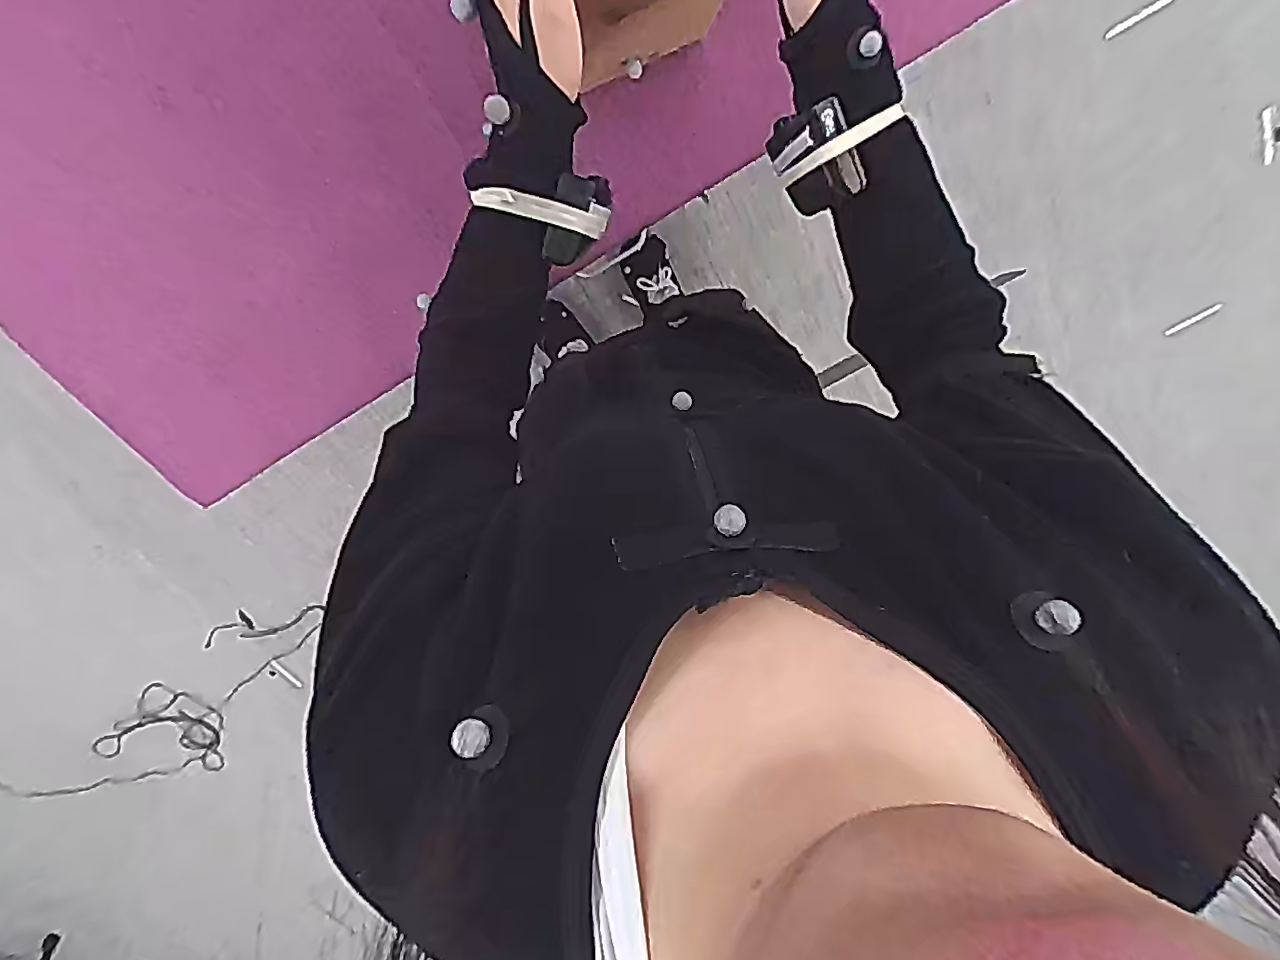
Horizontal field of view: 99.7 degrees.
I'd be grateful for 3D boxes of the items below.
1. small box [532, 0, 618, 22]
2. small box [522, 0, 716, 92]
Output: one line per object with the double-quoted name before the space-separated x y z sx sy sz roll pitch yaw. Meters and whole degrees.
"small box" -0.013 -0.420 0.319 0.179 0.176 0.168 -19 116 4
"small box" -0.036 -0.481 0.469 0.168 0.176 0.179 -21 115 5
